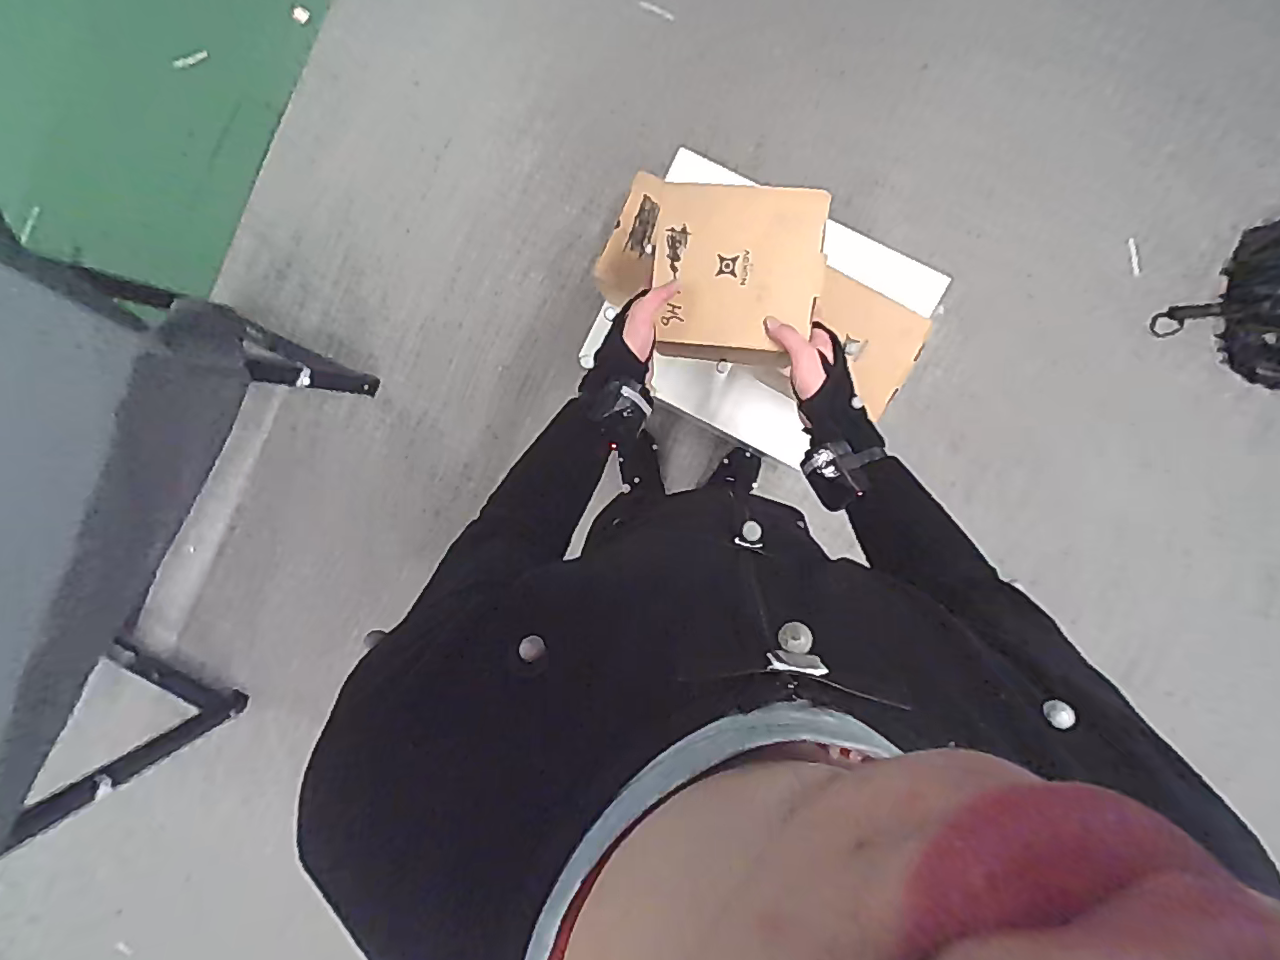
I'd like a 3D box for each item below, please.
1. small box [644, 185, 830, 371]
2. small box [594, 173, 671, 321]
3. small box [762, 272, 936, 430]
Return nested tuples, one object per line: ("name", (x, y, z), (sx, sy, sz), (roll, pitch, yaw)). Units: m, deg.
("small box", (0.107, -0.225, 0.642), (0.179, 0.176, 0.168), (7, 96, 6))
("small box", (0.051, -0.337, 0.857), (0.179, 0.176, 0.168), (26, 97, 2))
("small box", (0.309, -0.189, 0.843), (0.179, 0.176, 0.168), (30, 96, 5))
